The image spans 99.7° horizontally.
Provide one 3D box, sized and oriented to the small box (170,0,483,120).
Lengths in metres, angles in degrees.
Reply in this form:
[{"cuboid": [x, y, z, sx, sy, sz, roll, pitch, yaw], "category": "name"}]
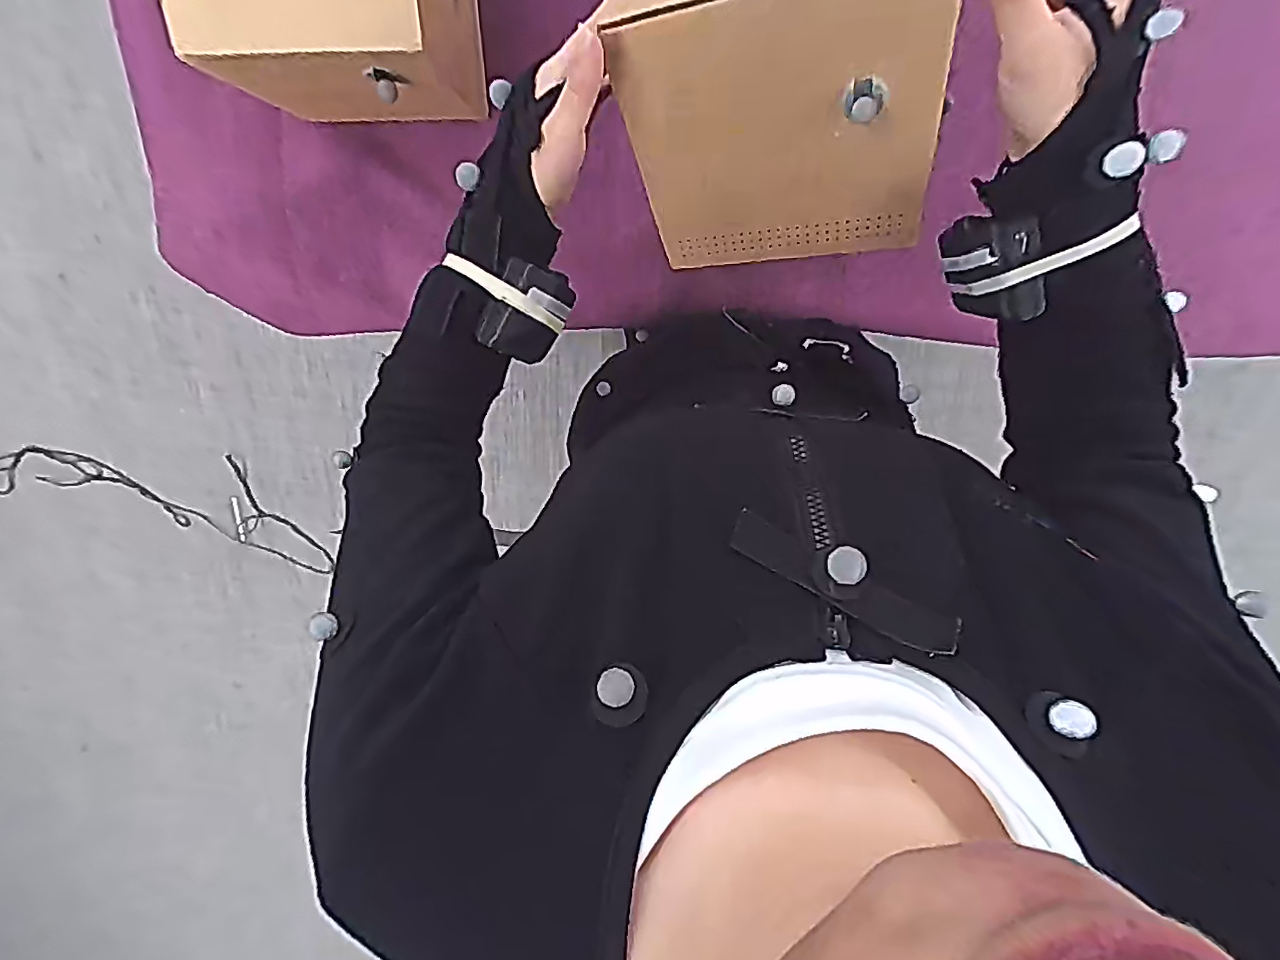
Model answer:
[{"cuboid": [-0.230, -0.399, 0.420, 0.179, 0.176, 0.168, 0, 110, 1], "category": "small box"}]
